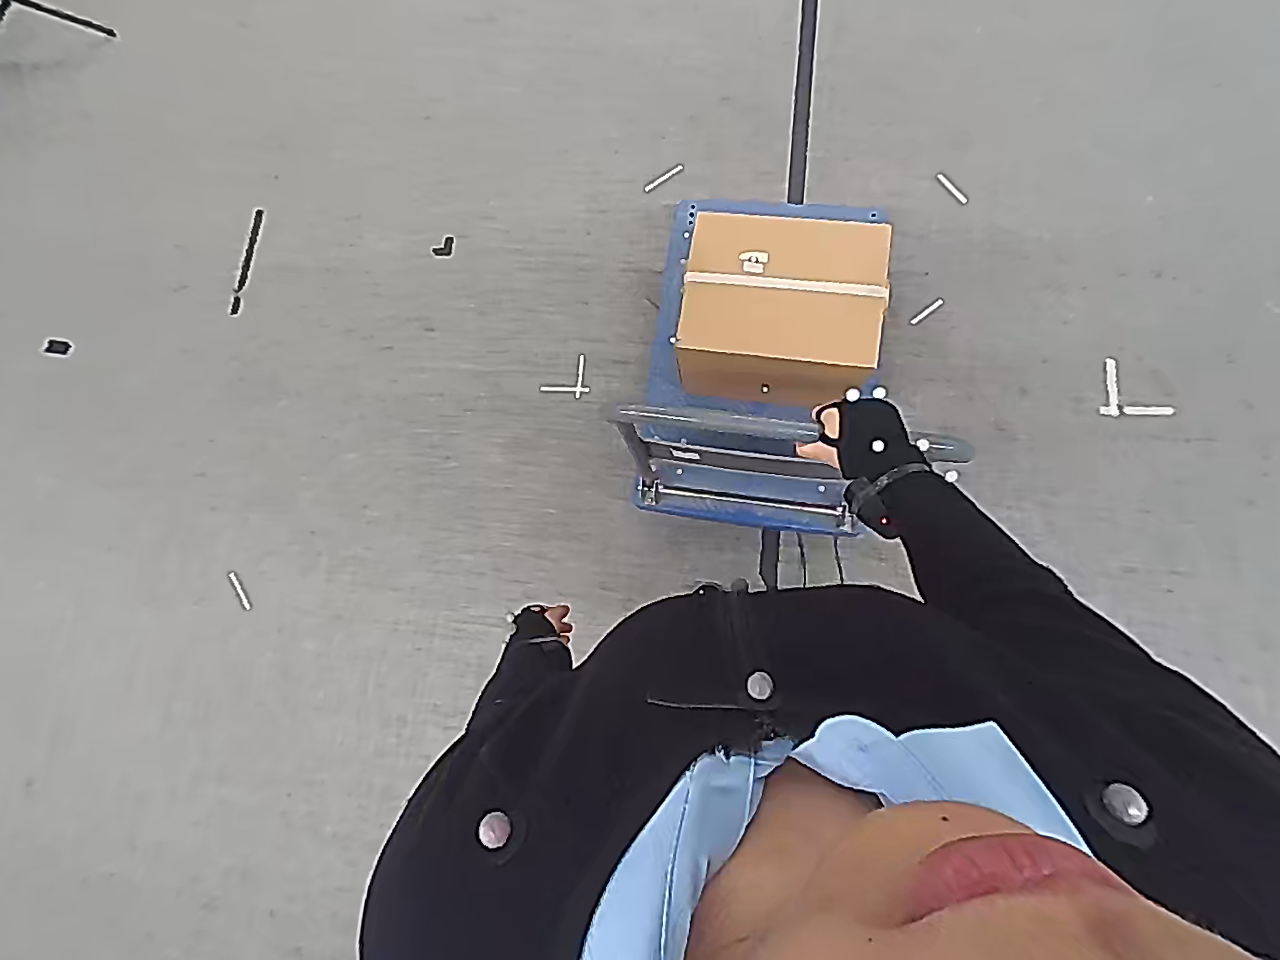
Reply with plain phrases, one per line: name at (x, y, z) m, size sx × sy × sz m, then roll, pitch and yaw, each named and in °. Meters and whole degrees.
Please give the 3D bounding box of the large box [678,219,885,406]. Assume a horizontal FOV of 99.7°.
large box at (0.320, -0.377, 1.275) m, size 0.408 × 0.320 × 0.320 m, roll 8°, pitch 81°, yaw 10°
